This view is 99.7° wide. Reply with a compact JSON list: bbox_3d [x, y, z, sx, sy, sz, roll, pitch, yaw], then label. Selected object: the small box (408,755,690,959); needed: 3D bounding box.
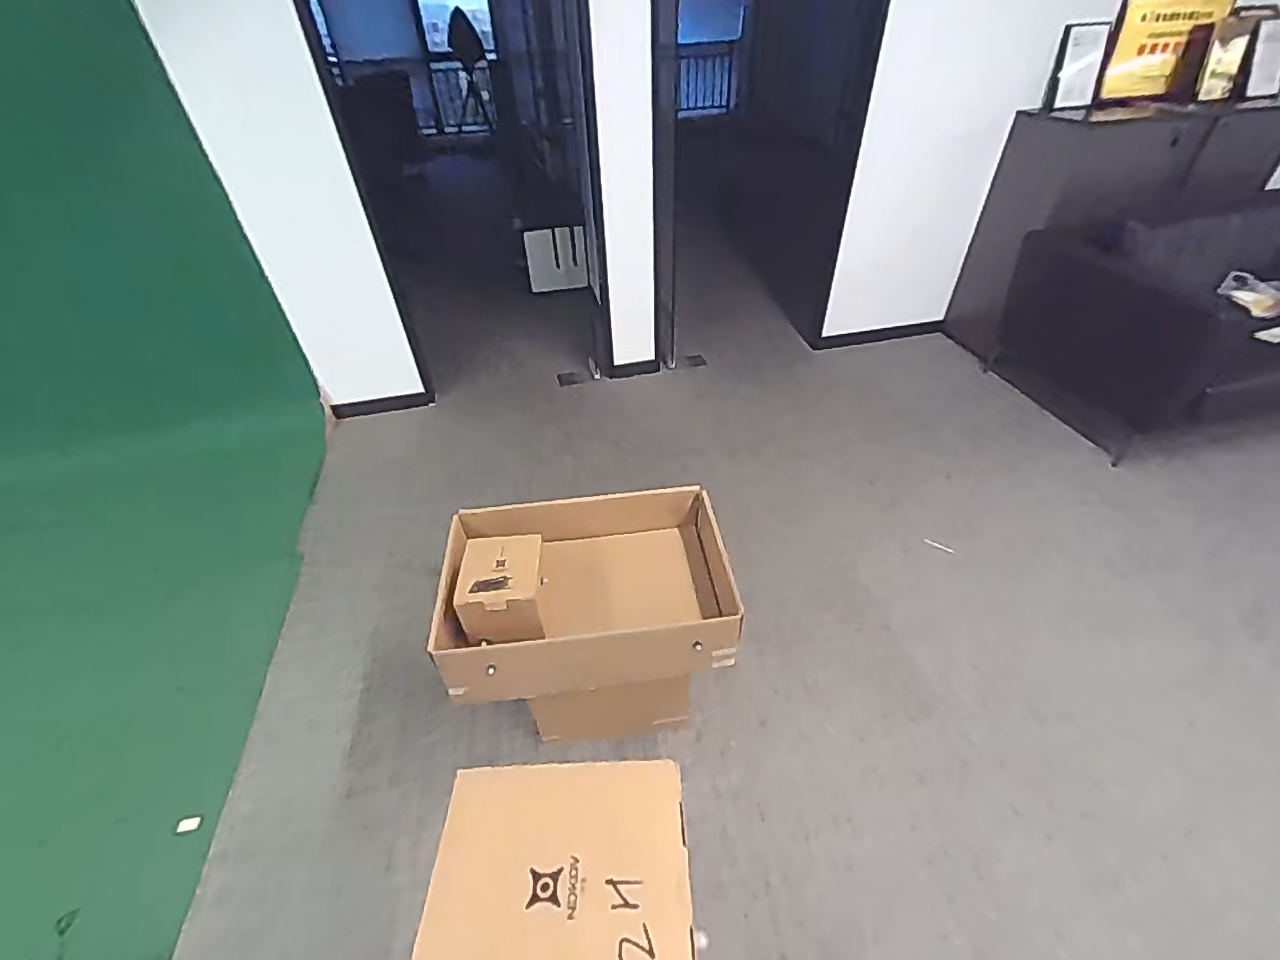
[{"bbox_3d":[-0.054,0.332,0.408,0.179,0.176,0.168,-1,36,0],"label":"small box"}]
